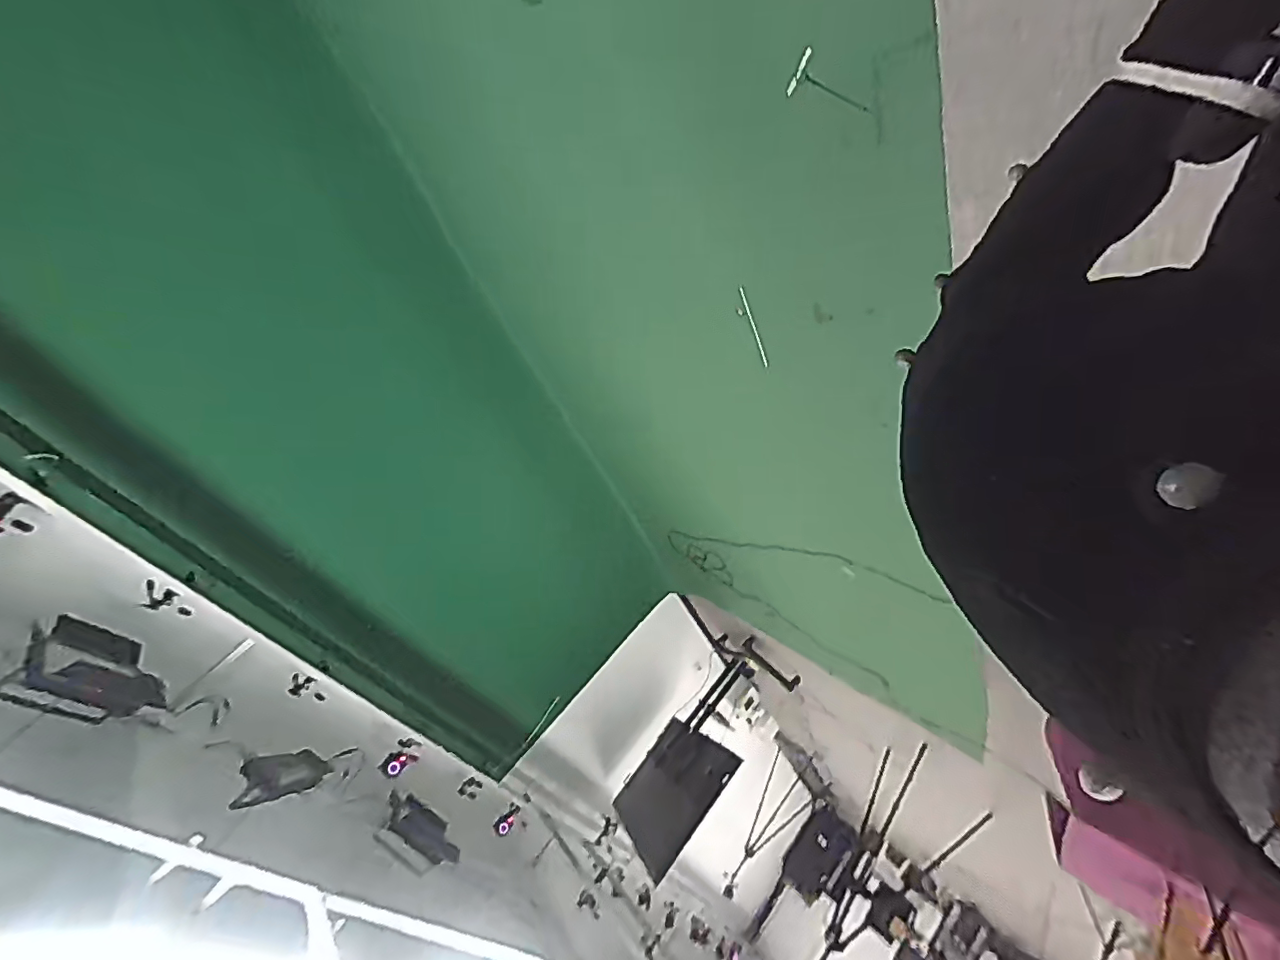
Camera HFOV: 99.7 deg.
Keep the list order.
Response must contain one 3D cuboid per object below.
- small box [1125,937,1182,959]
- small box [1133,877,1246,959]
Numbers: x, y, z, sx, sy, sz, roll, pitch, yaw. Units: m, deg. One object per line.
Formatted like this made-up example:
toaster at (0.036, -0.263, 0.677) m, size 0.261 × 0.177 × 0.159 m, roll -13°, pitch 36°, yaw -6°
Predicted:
small box at (1.375, 1.341, 1.409) m, size 0.179 × 0.176 × 0.168 m, roll 22°, pitch 152°, yaw 48°
small box at (1.485, 1.231, 1.464) m, size 0.179 × 0.176 × 0.168 m, roll 21°, pitch 150°, yaw 49°
